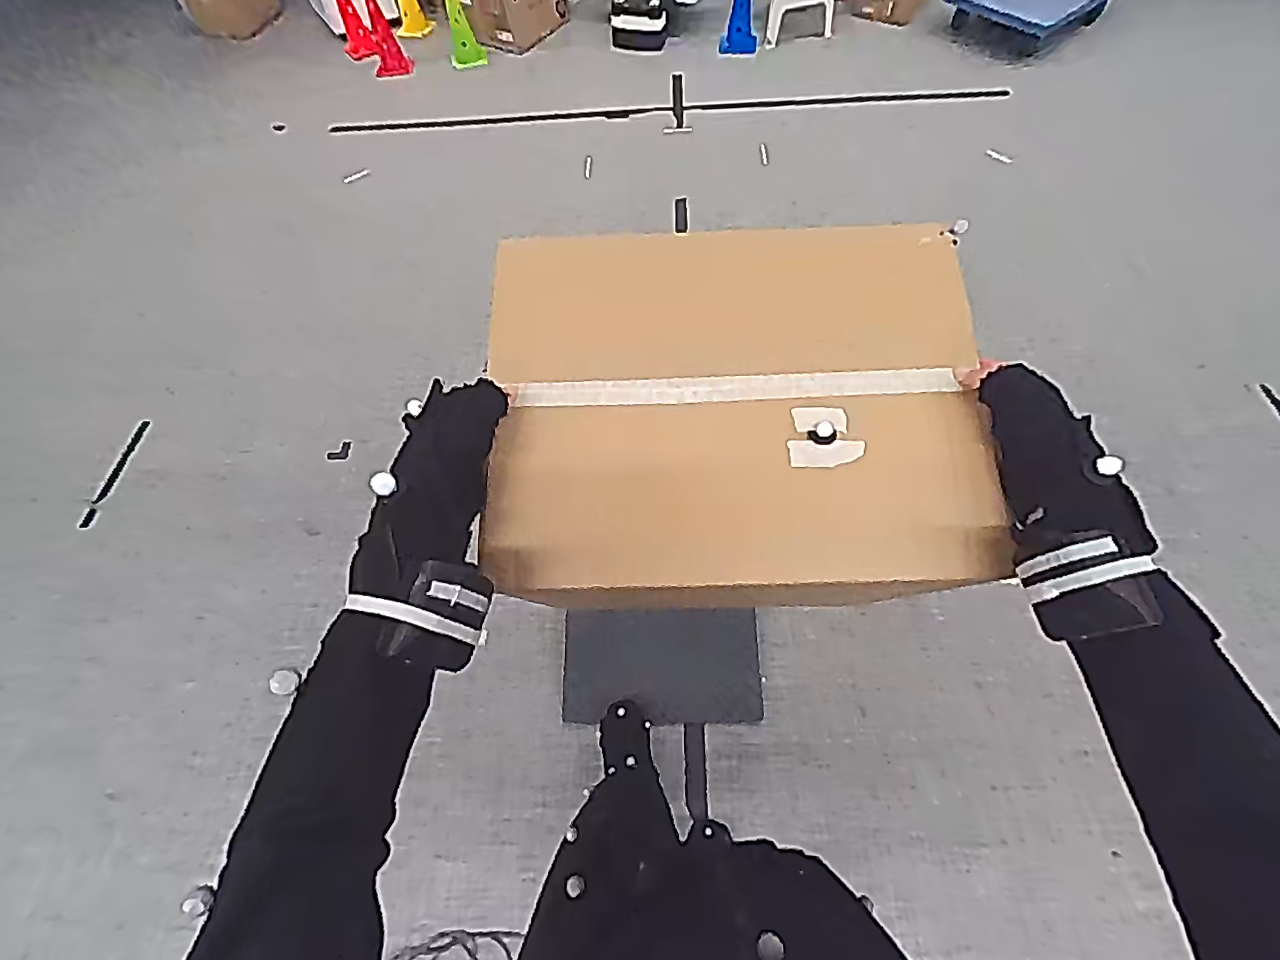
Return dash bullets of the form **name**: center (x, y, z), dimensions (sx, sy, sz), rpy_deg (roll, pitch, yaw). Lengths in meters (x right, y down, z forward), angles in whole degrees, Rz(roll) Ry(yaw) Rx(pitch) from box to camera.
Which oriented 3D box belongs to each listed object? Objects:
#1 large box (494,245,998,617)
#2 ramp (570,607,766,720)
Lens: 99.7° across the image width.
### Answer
- **large box**: center (0.078, -0.021, 0.606), dimensions (0.408, 0.320, 0.320), rpy_deg (-2, 74, 1)
- **ramp**: center (0.059, 0.117, 1.494), dimensions (0.509, 0.206, 0.991), rpy_deg (-3, 61, 1)
